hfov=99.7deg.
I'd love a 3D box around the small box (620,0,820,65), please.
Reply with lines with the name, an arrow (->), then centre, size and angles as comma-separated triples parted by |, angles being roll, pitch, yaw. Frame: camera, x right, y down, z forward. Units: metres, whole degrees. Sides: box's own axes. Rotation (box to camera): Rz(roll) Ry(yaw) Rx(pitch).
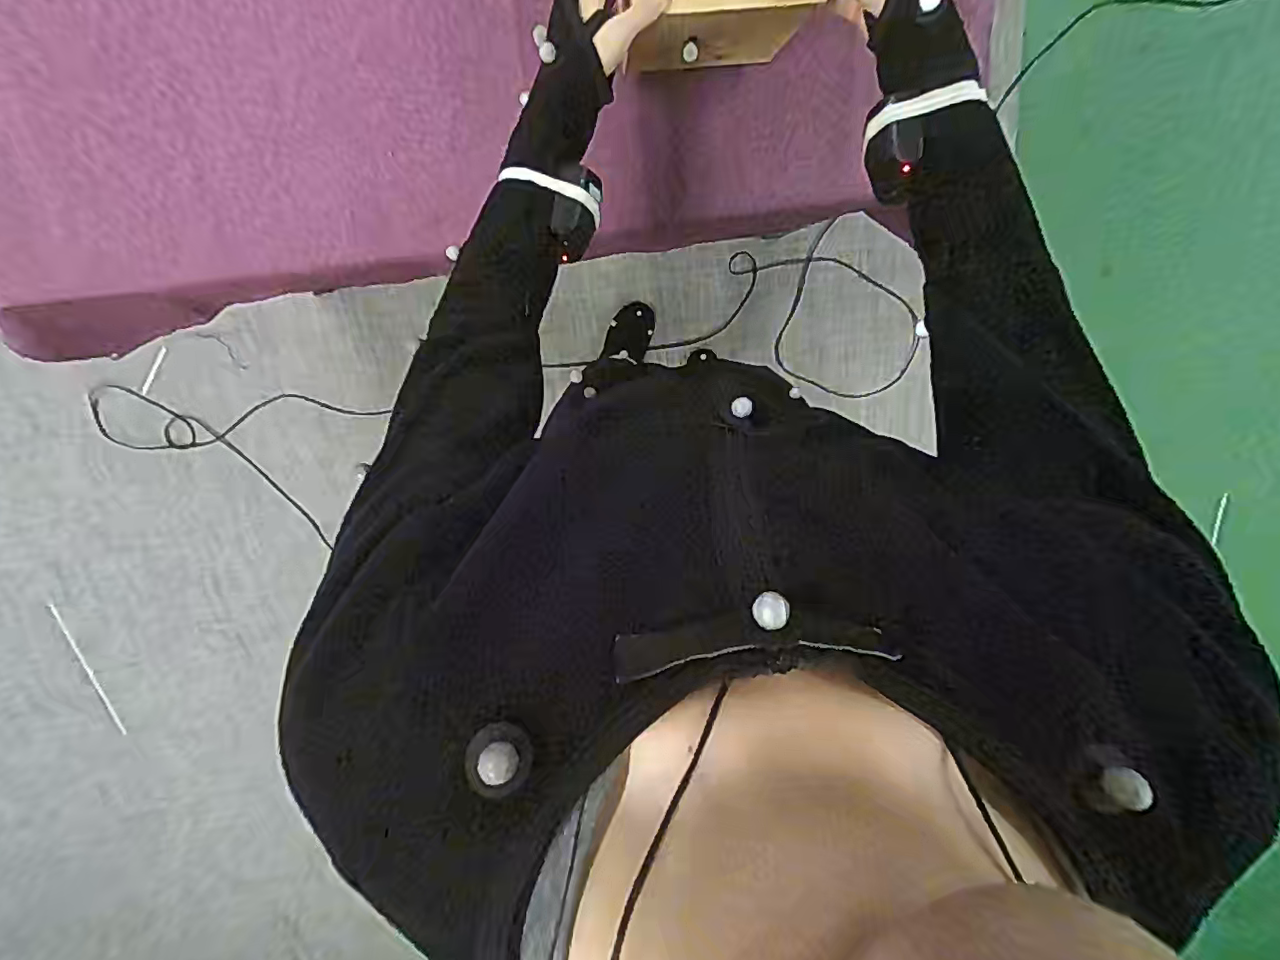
small box -> 0.064, -0.505, 0.492 | 0.168, 0.176, 0.179 | -6, 113, -2
